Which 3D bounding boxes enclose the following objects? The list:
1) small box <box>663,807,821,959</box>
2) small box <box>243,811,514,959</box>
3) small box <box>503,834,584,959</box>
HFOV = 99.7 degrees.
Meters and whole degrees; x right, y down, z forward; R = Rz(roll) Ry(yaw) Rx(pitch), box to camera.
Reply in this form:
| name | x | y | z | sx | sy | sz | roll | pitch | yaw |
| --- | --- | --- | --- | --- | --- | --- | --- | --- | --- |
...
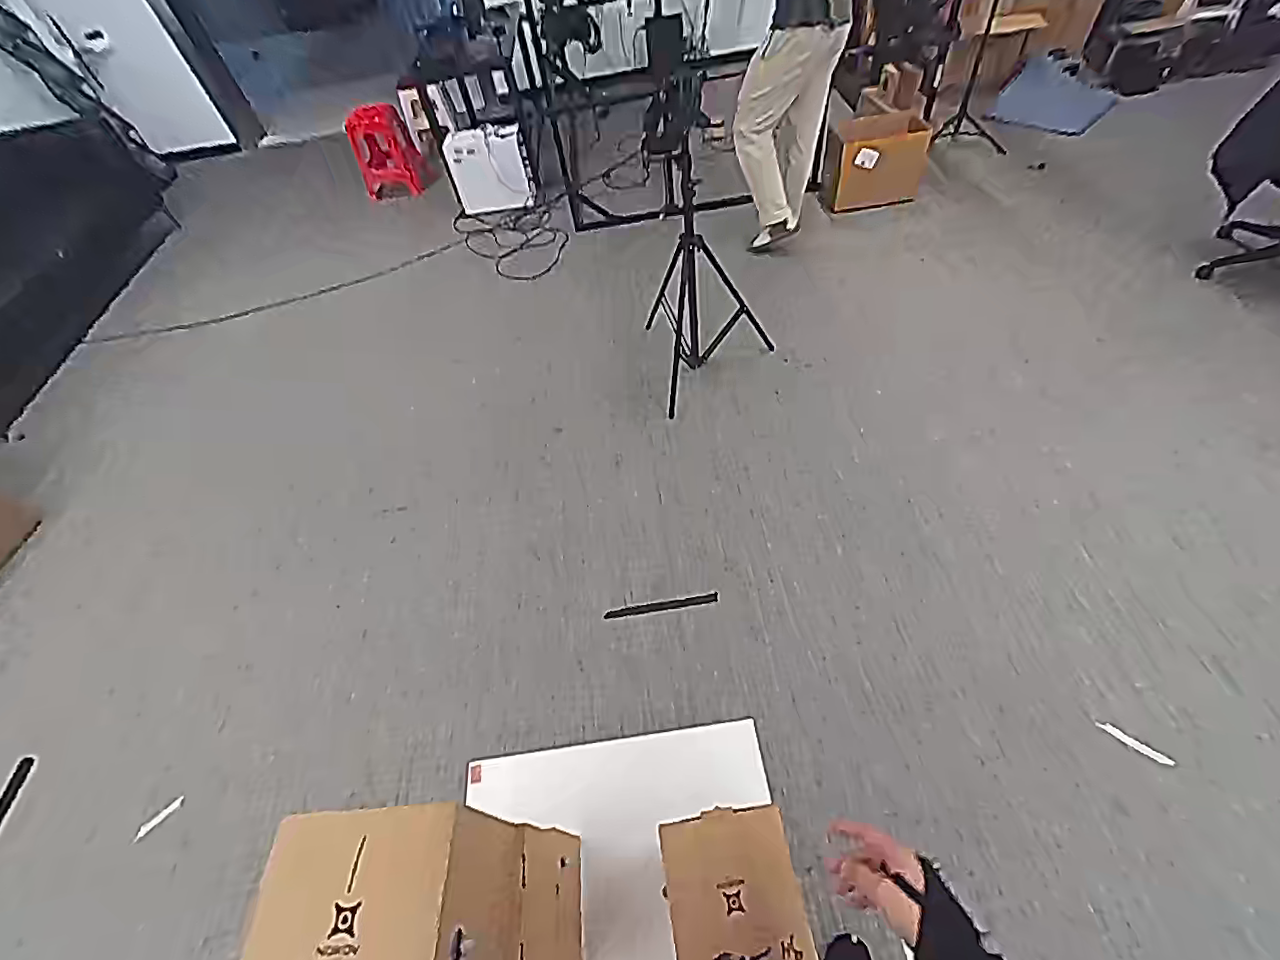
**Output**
| name | x | y | z | sx | sy | sz | roll | pitch | yaw |
| --- | --- | --- | --- | --- | --- | --- | --- | --- | --- |
| small box | 0.131 | 0.568 | 0.731 | 0.168 | 0.176 | 0.179 | -12 | 51 | 1 |
| small box | -0.223 | 0.415 | 0.489 | 0.168 | 0.176 | 0.179 | -7 | 51 | 4 |
| small box | -0.175 | 0.610 | 0.750 | 0.168 | 0.176 | 0.179 | -9 | 51 | 2 |
